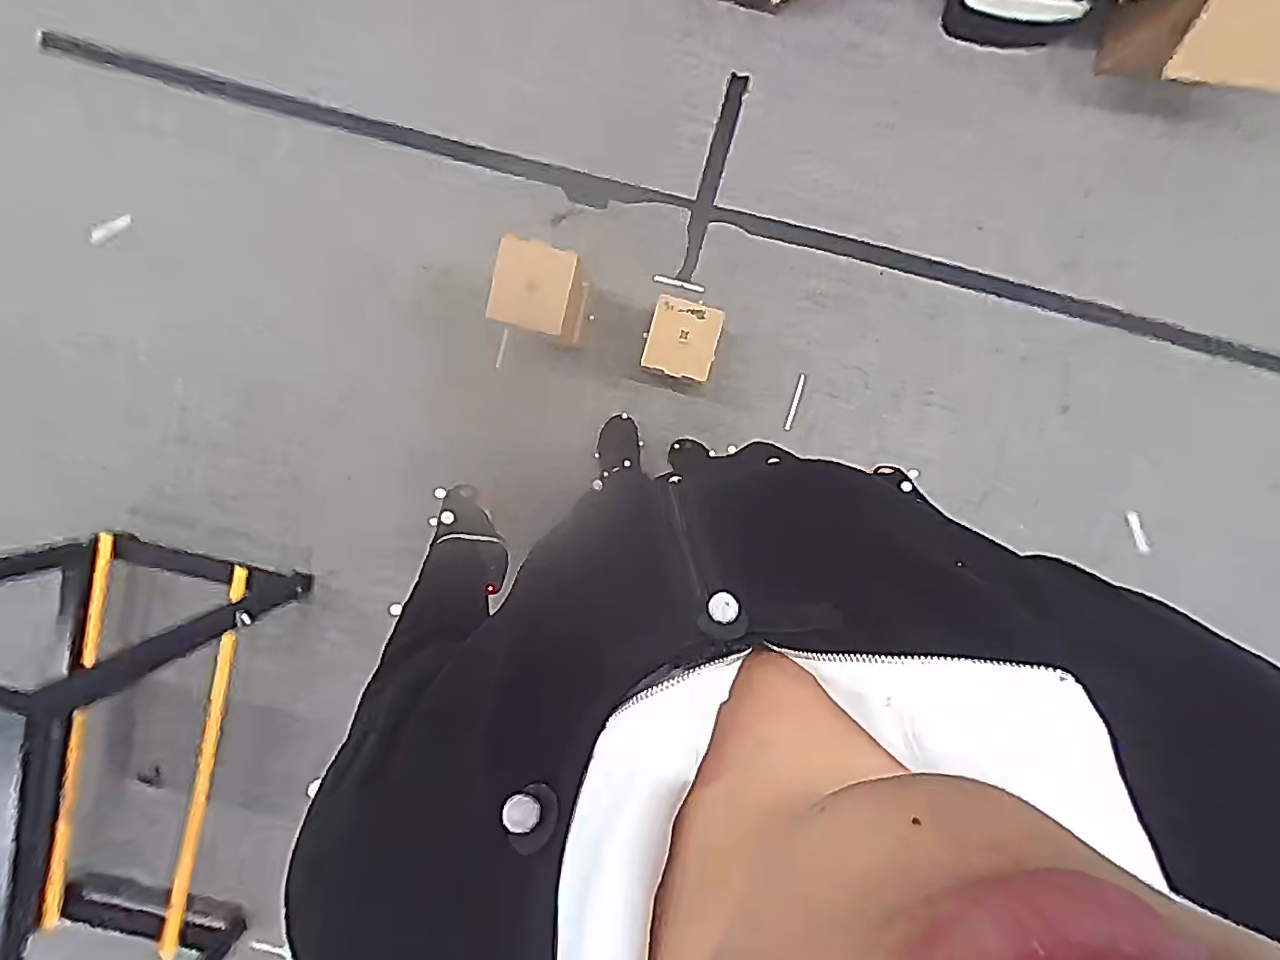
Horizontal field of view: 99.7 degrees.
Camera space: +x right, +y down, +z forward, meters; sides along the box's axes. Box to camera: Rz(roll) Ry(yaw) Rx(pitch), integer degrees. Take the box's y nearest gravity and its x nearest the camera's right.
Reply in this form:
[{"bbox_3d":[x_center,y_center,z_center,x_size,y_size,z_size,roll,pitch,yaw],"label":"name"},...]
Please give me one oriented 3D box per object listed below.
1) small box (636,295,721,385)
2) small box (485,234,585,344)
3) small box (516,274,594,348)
[{"bbox_3d":[0.094,-0.347,1.375,0.168,0.176,0.179,17,97,-2],"label":"small box"},{"bbox_3d":[-0.226,-0.416,1.205,0.168,0.176,0.179,15,98,0],"label":"small box"},{"bbox_3d":[-0.220,-0.439,1.365,0.179,0.176,0.168,14,97,-1],"label":"small box"}]
